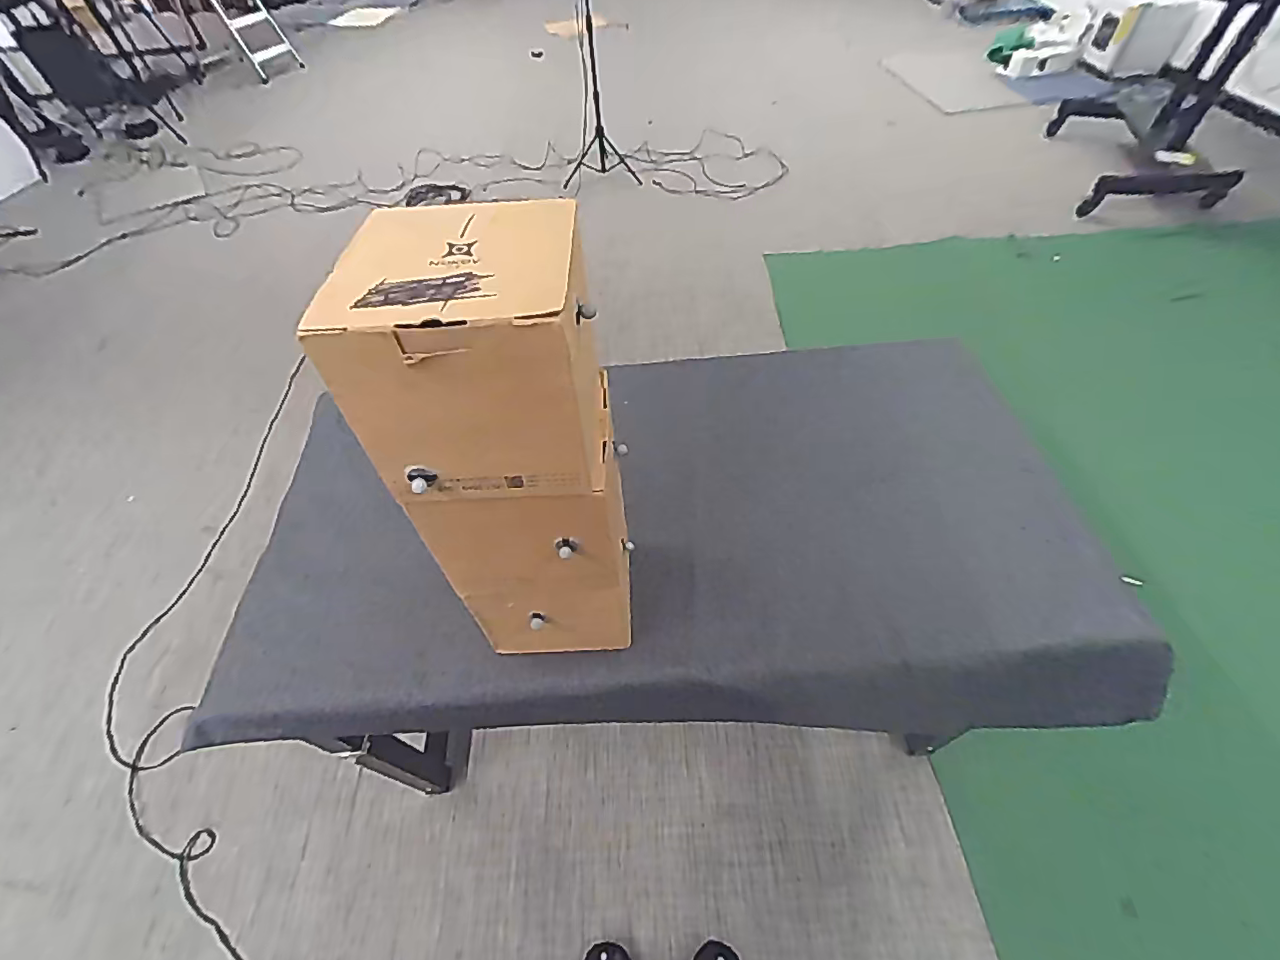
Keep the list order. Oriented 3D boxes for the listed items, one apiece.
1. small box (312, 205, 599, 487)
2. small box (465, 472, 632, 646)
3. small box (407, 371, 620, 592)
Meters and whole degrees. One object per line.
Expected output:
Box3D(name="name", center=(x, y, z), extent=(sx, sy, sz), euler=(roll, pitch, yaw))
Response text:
Box3D(name="small box", center=(-0.125, -0.105, 0.454), extent=(0.168, 0.176, 0.179), euler=(-2, 48, 1))
Box3D(name="small box", center=(-0.104, 0.105, 0.703), extent=(0.179, 0.176, 0.168), euler=(-3, 51, 2))
Box3D(name="small box", center=(-0.112, 0.005, 0.576), extent=(0.179, 0.176, 0.168), euler=(-4, 49, 2))
